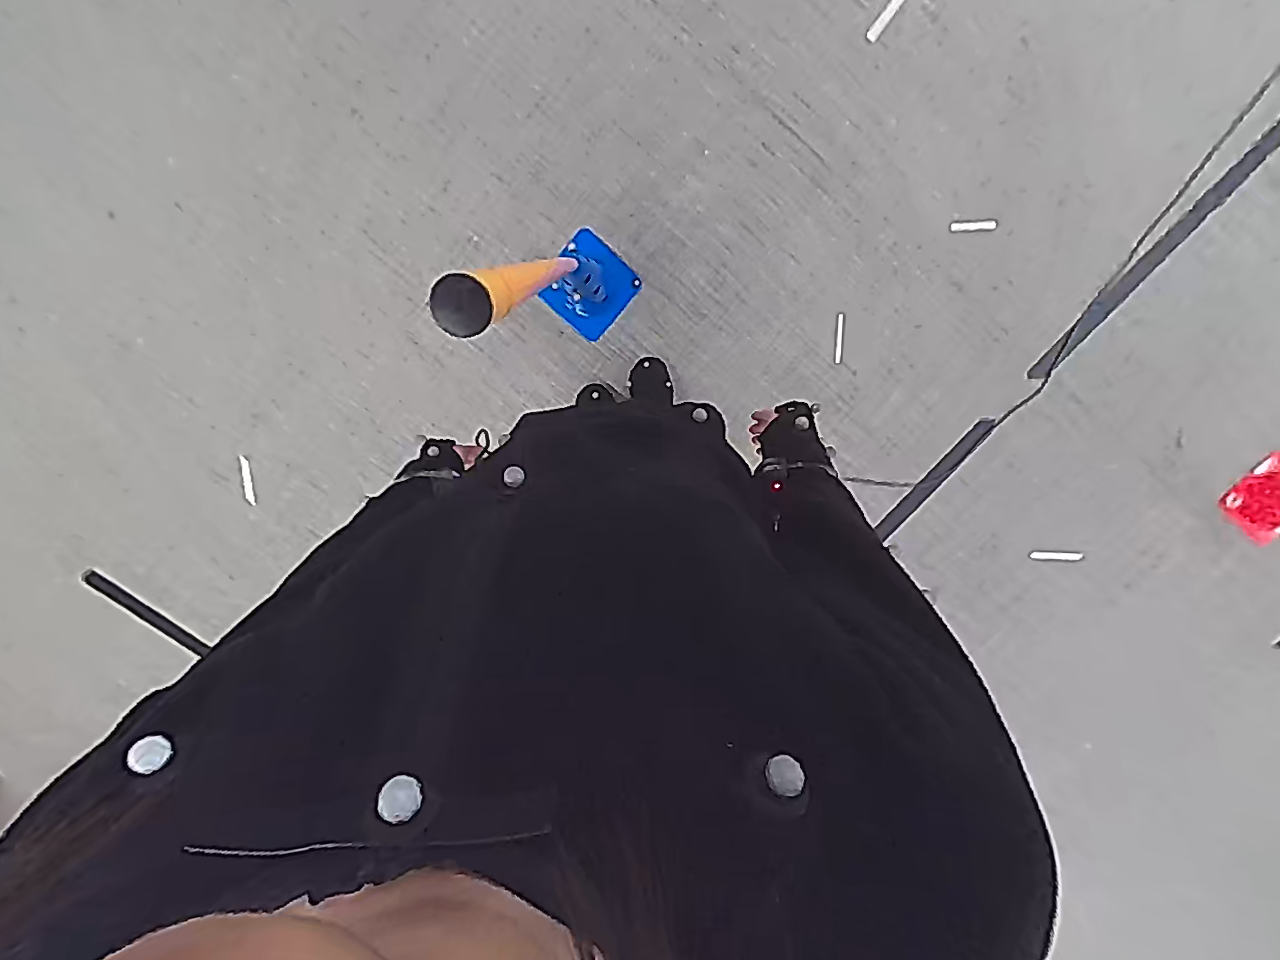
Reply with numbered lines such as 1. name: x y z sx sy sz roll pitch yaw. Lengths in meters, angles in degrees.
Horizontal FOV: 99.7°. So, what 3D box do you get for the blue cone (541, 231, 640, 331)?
1. blue cone: -0.121 -0.445 1.156 0.193 0.380 0.192 42 99 -9
